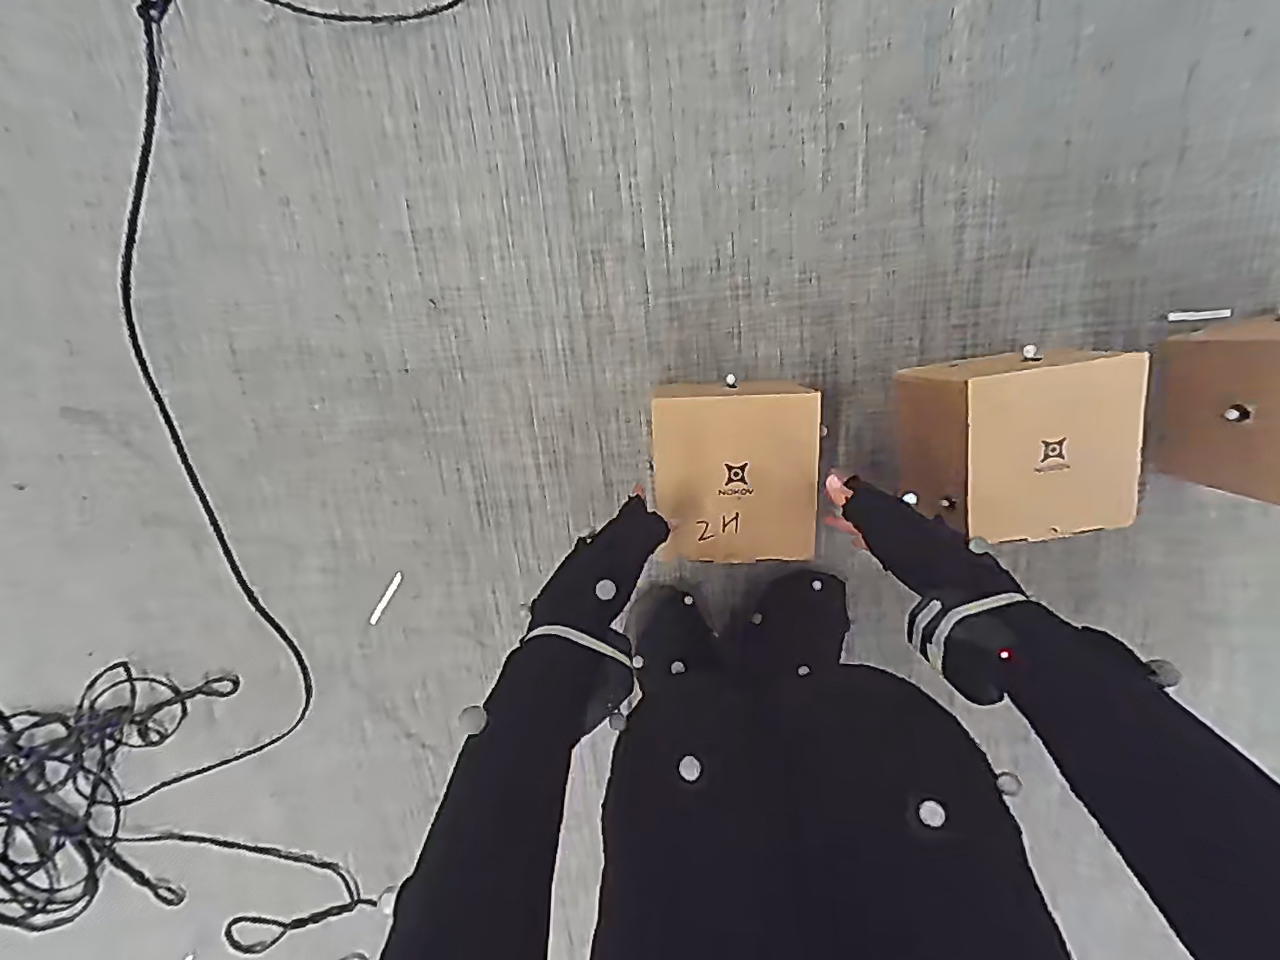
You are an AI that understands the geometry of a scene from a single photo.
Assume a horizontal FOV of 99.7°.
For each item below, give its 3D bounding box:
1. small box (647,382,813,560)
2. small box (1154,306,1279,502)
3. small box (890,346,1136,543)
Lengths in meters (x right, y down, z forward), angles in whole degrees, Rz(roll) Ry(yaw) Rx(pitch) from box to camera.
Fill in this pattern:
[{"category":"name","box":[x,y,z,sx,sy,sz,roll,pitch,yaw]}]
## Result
[{"category":"small box","box":[0.092,-0.021,0.620,0.168,0.176,0.179,-2,104,3]},{"category":"small box","box":[0.710,-0.091,0.583,0.168,0.176,0.179,-13,103,4]},{"category":"small box","box":[0.396,-0.049,0.604,0.168,0.176,0.179,-9,104,5]}]
